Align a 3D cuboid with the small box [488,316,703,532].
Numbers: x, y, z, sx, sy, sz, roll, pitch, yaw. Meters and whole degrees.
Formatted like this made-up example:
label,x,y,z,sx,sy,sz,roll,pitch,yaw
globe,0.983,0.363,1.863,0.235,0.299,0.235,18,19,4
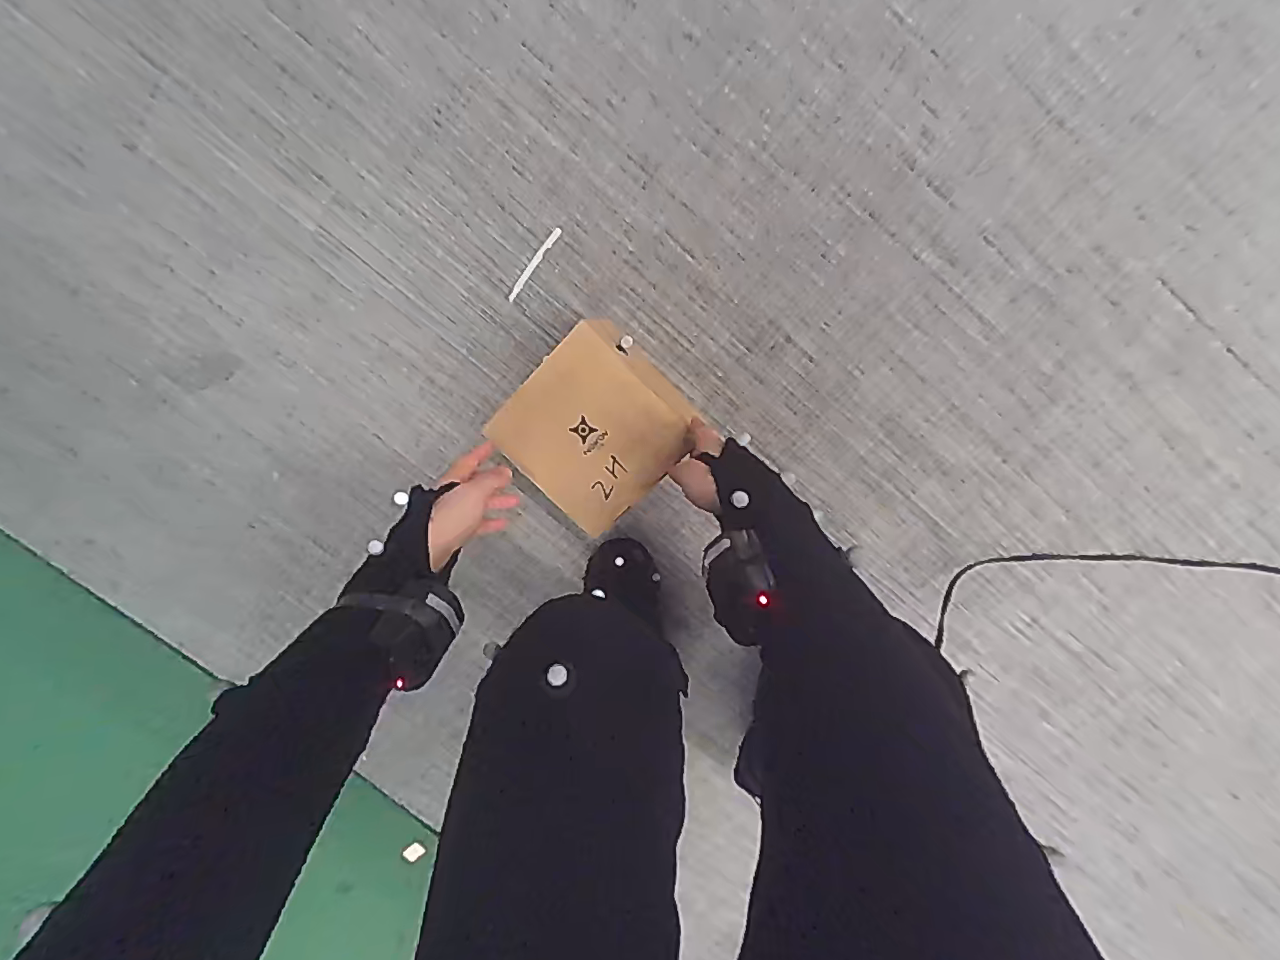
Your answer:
label,x,y,z,sx,sy,sz,roll,pitch,yaw
small box,-0.042,-0.073,0.651,0.179,0.176,0.168,45,106,-7
